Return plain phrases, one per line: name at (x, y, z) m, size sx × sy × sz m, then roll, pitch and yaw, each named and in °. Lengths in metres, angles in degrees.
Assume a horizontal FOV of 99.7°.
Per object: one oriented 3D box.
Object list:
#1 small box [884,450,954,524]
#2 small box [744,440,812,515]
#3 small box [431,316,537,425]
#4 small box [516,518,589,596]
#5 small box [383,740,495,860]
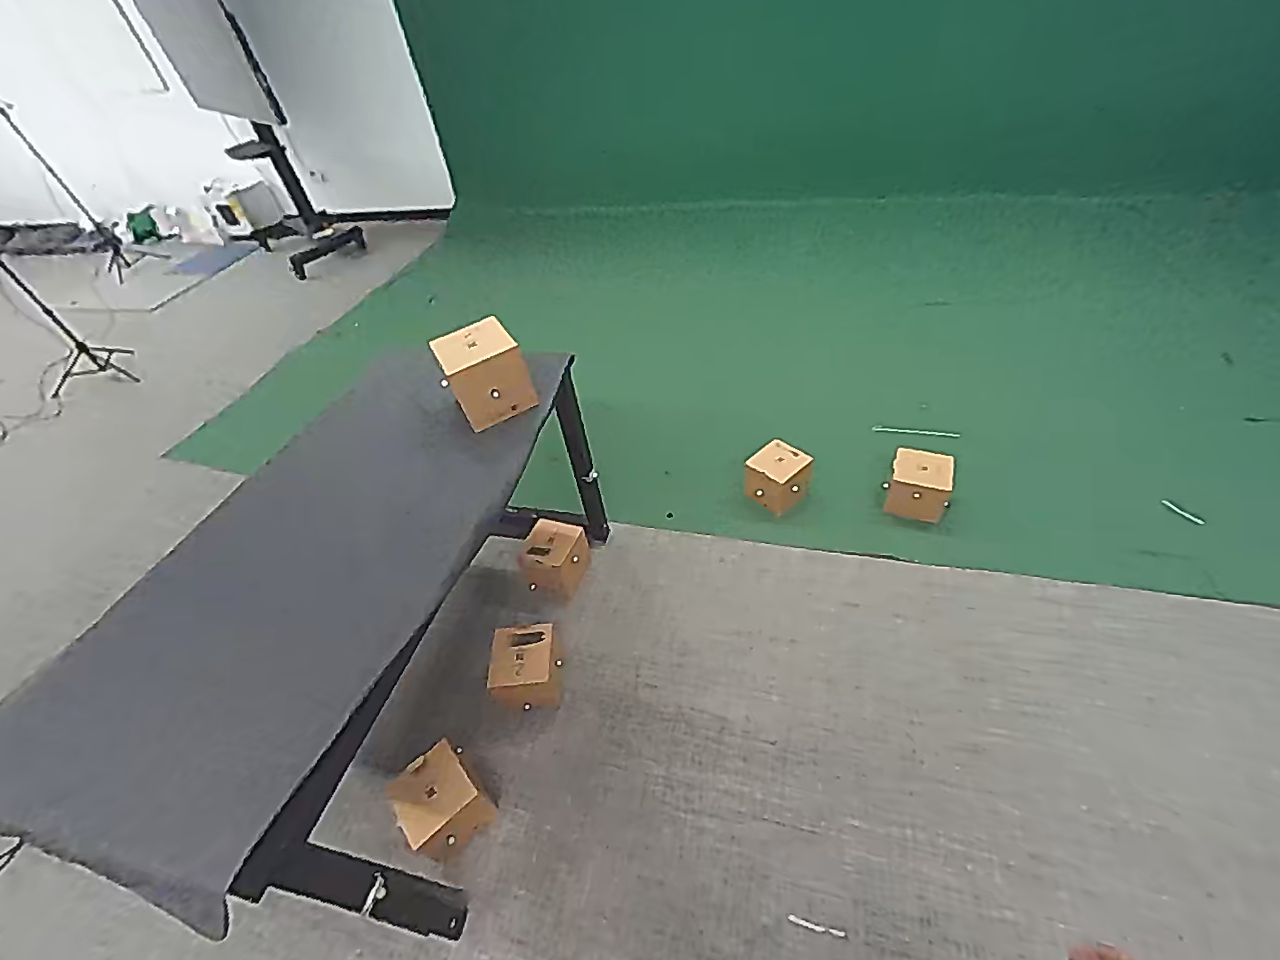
small box at (0.941, 0.026, 1.833) m, size 0.179 × 0.176 × 0.168 m, roll 14°, pitch 50°, yaw 20°
small box at (0.493, -0.004, 1.934) m, size 0.179 × 0.176 × 0.168 m, roll -35°, pitch 50°, yaw -24°
small box at (-0.359, -0.250, 1.266) m, size 0.168 × 0.176 × 0.179 m, roll -27°, pitch 47°, yaw -14°
small box at (-0.279, 0.258, 1.787) m, size 0.168 × 0.176 × 0.179 m, roll 11°, pitch 47°, yaw 18°
small box at (-0.476, 0.775, 1.300) m, size 0.168 × 0.176 × 0.179 m, roll -36°, pitch 50°, yaw -25°
